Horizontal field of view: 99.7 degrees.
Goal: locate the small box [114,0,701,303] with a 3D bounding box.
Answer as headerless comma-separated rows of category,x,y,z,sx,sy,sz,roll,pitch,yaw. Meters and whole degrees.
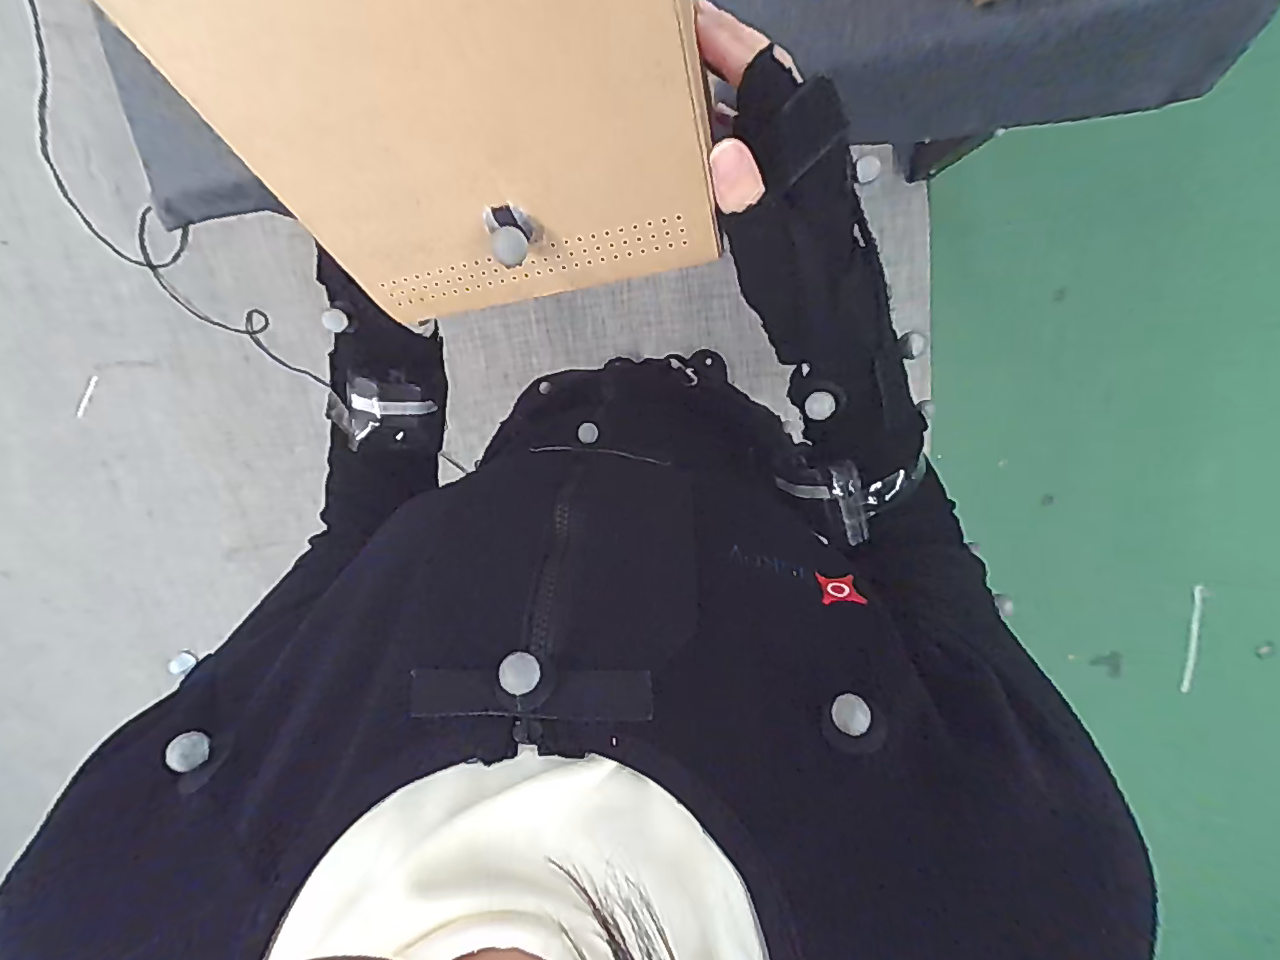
small box,-0.068,-0.206,0.238,0.179,0.176,0.168,-6,62,13
